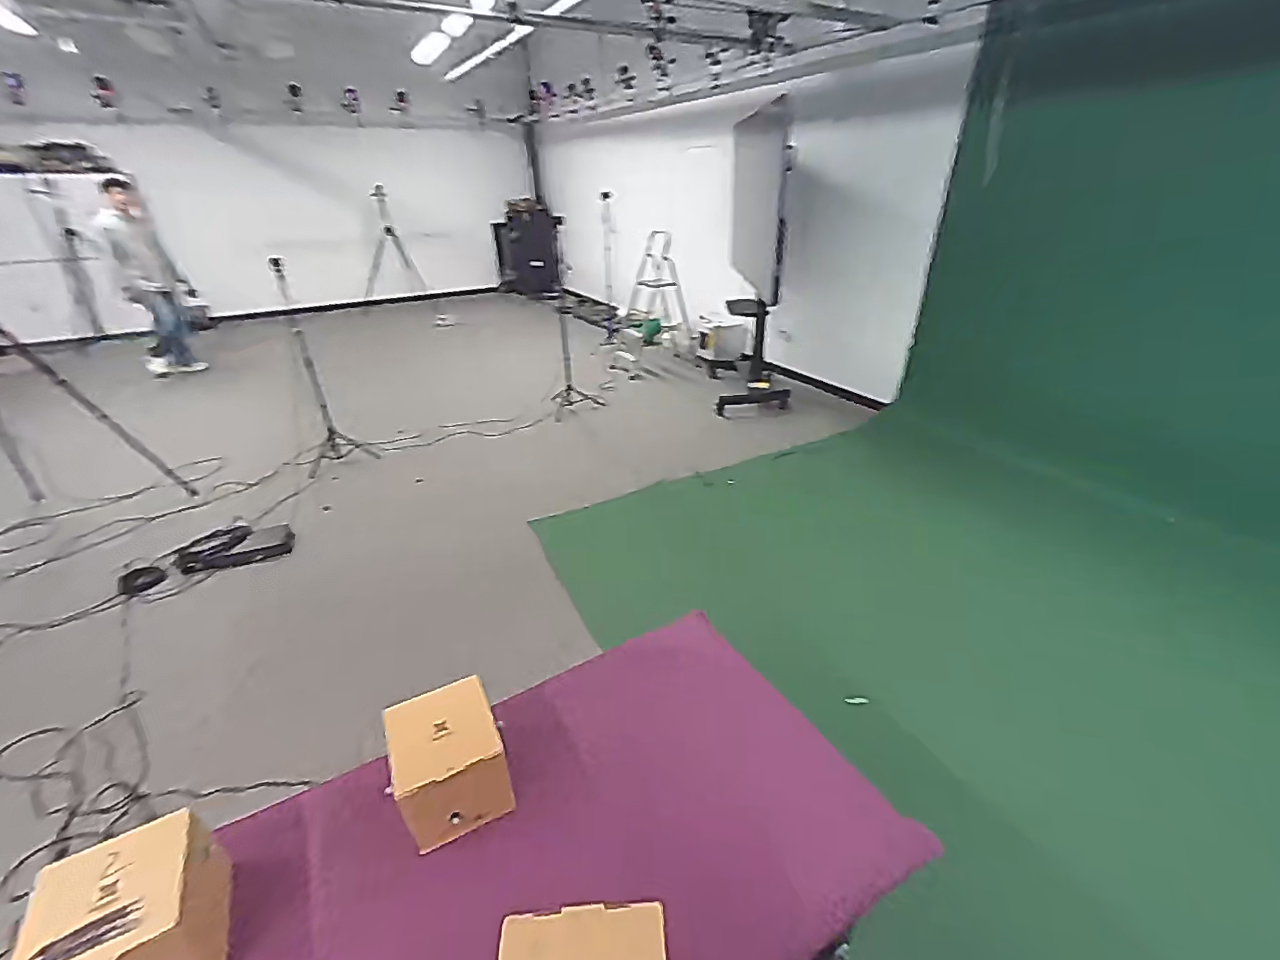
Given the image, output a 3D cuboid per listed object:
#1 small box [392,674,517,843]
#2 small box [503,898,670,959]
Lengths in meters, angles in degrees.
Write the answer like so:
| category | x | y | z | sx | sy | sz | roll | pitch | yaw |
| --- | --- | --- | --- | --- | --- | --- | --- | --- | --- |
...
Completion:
| category | x | y | z | sx | sy | sz | roll | pitch | yaw |
| --- | --- | --- | --- | --- | --- | --- | --- | --- | --- |
| small box | -0.329 | 0.491 | 0.964 | 0.168 | 0.176 | 0.179 | -16 | 34 | -23 |
| small box | -0.049 | 0.561 | 0.545 | 0.168 | 0.176 | 0.179 | -5 | 34 | 1 |
